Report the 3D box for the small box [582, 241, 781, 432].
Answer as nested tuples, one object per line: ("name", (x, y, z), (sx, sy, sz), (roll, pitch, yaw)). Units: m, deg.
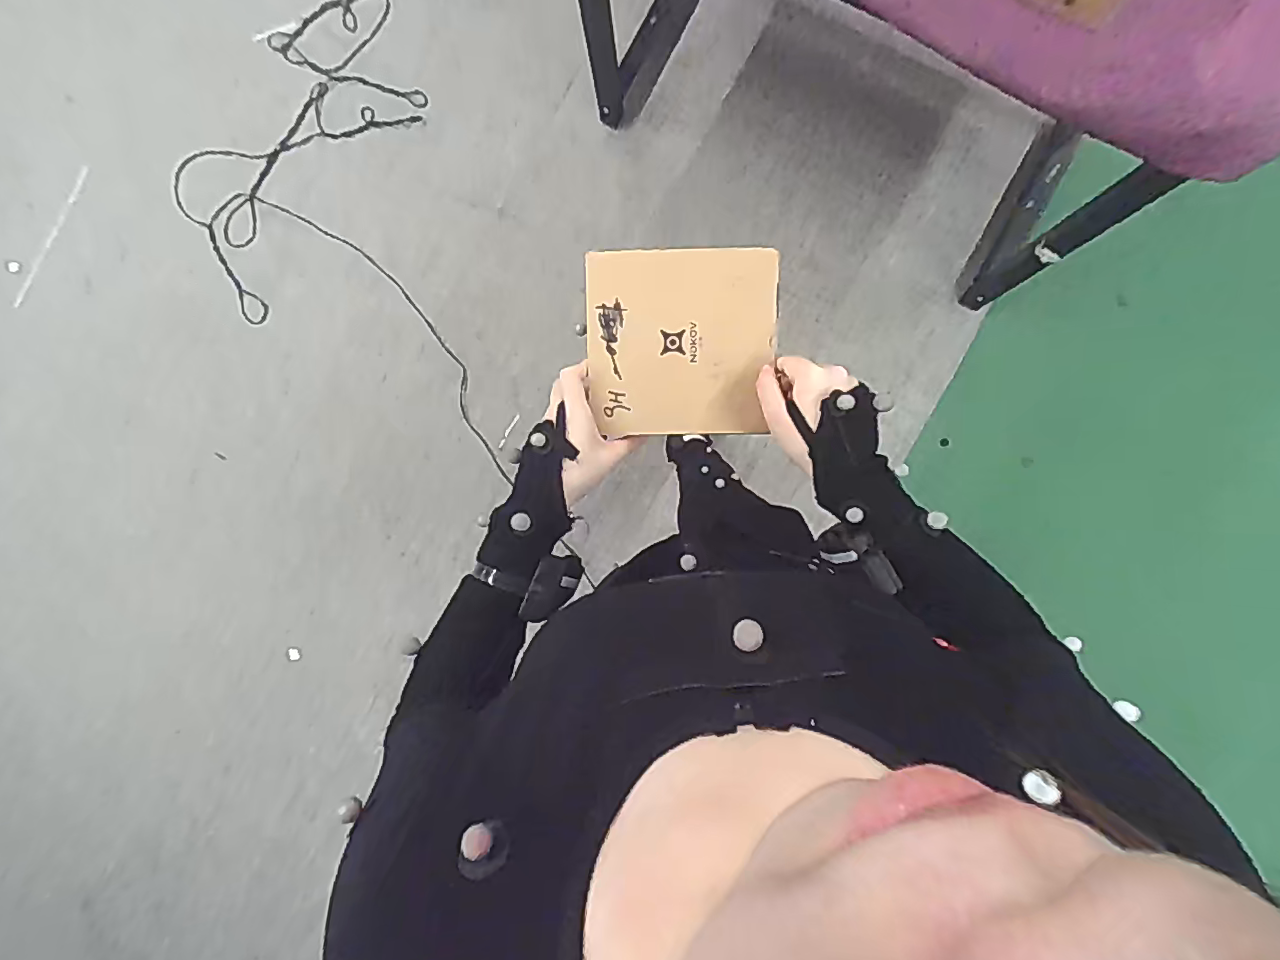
("small box", (0.036, -0.134, 0.557), (0.179, 0.176, 0.168), (0, 96, 1))
